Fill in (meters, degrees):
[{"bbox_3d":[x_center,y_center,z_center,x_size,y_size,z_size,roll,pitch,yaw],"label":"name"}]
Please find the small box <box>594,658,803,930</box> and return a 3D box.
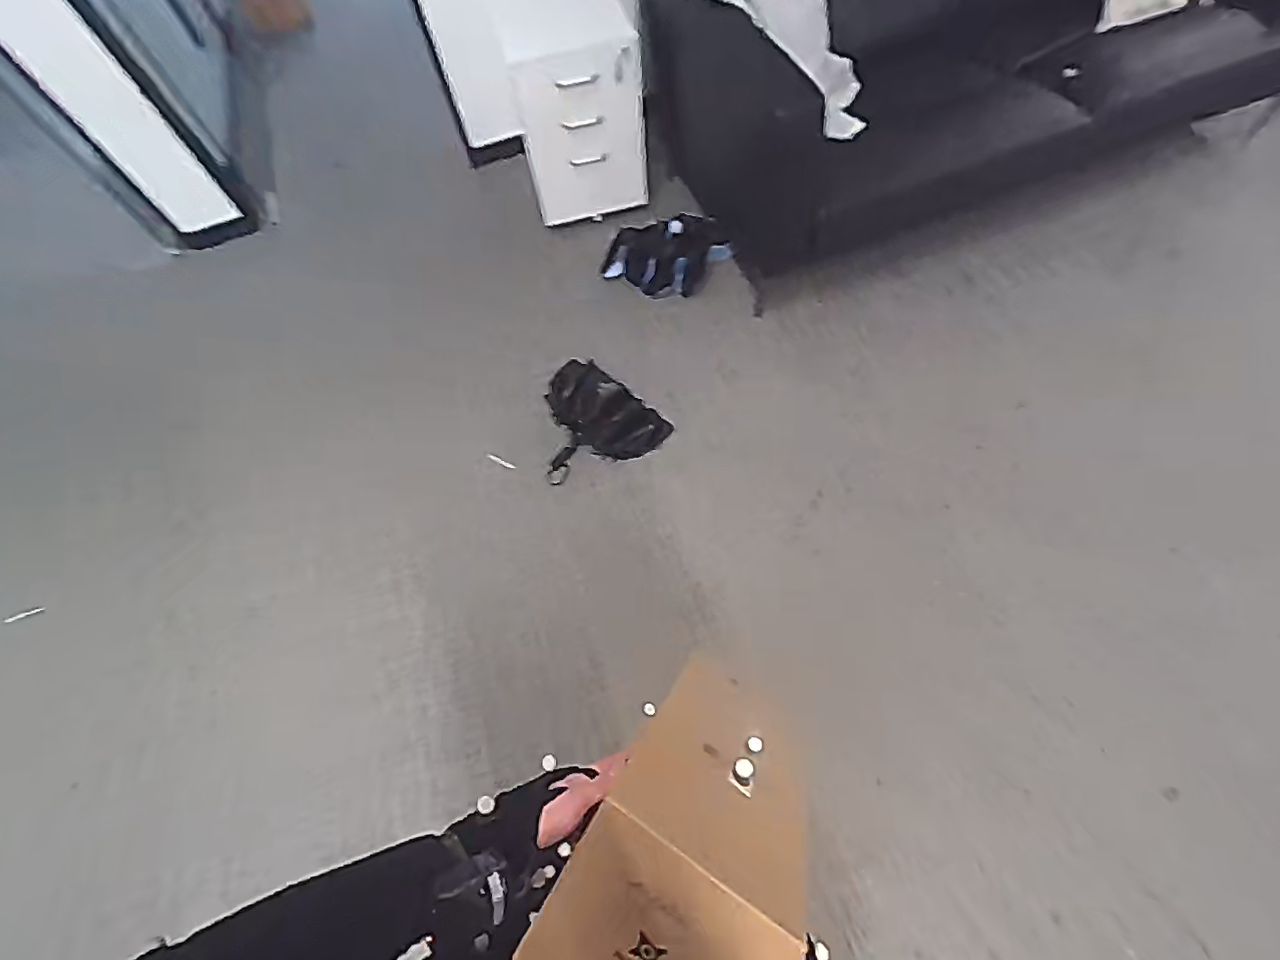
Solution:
[{"bbox_3d":[0.078,0.346,0.634,0.168,0.176,0.179,30,100,13],"label":"small box"}]
